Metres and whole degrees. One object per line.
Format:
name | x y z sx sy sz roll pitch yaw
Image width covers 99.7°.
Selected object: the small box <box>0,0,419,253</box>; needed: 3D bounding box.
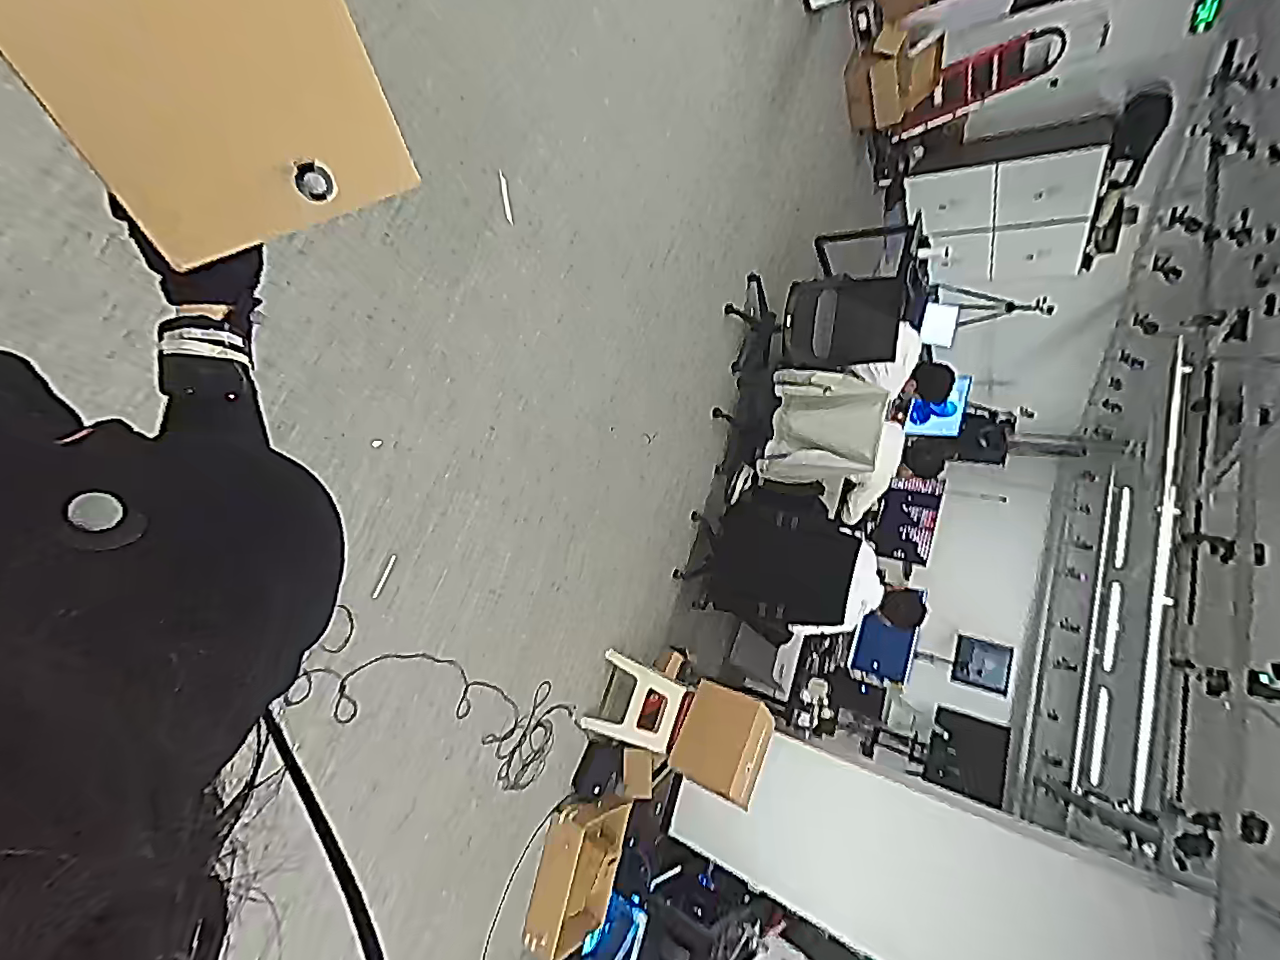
small box | -0.279 -0.279 0.357 0.168 0.179 0.176 -30 135 -16
